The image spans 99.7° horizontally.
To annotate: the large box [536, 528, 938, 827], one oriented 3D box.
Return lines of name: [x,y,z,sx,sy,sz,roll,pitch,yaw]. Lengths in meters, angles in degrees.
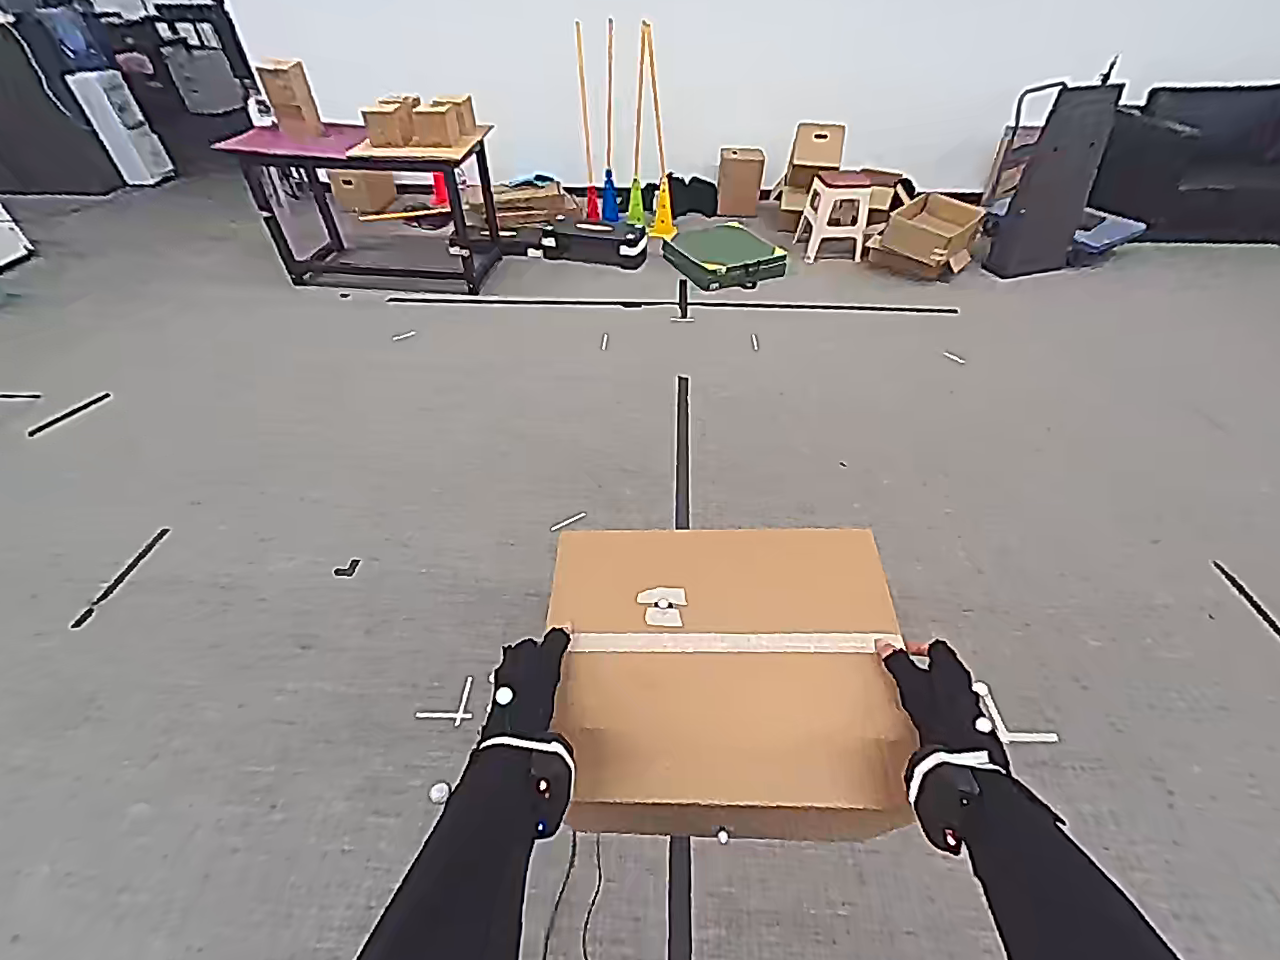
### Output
large box: [0.106,0.281,0.740,0.408,0.320,0.320,-1,51,4]
